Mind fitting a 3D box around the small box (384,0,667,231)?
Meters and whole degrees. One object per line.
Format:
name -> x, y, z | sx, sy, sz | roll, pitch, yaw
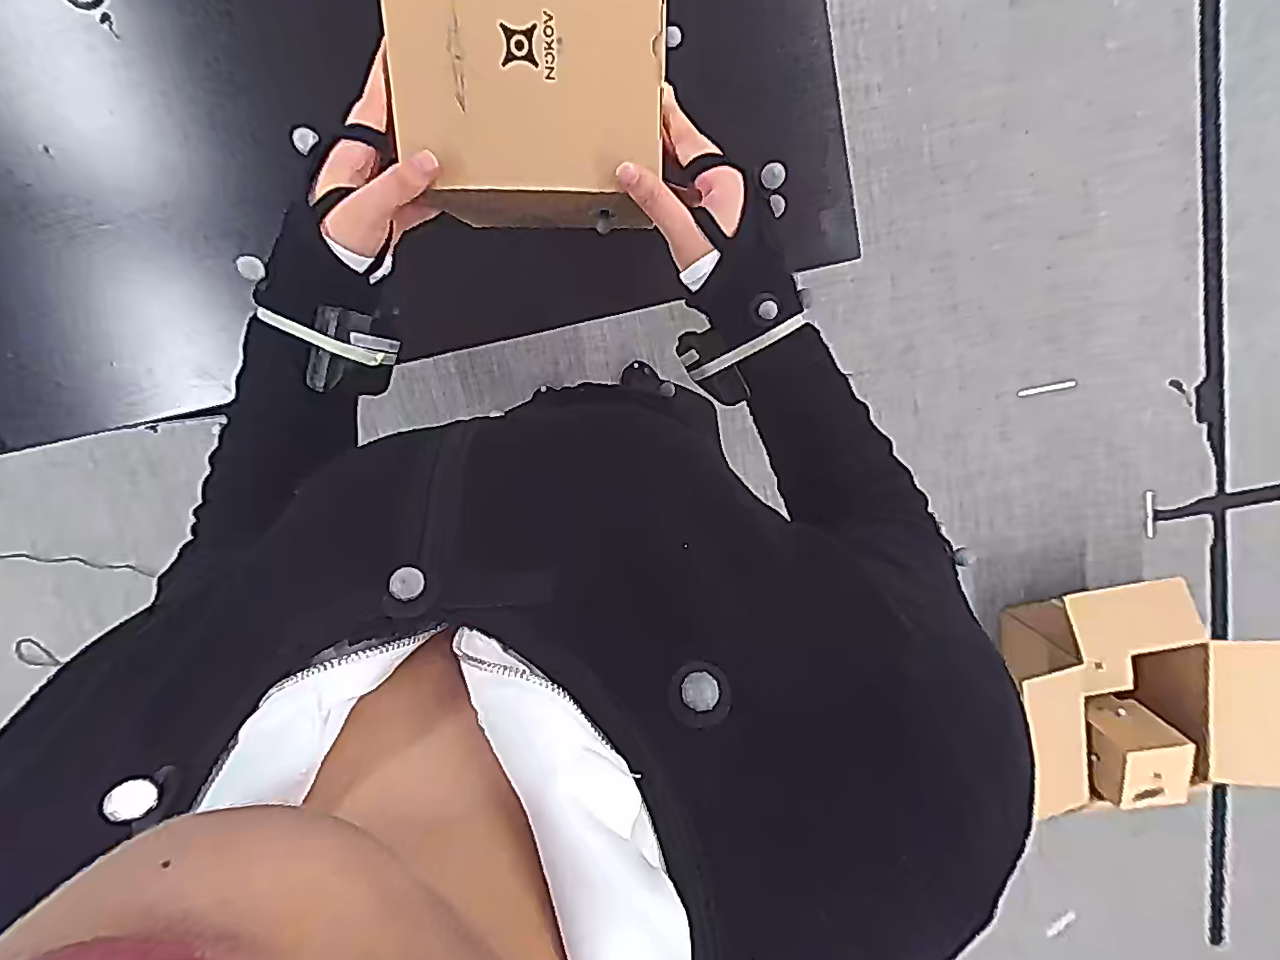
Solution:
small box -> -0.071, -0.295, 0.415 | 0.179, 0.176, 0.168 | 0, 106, 0
